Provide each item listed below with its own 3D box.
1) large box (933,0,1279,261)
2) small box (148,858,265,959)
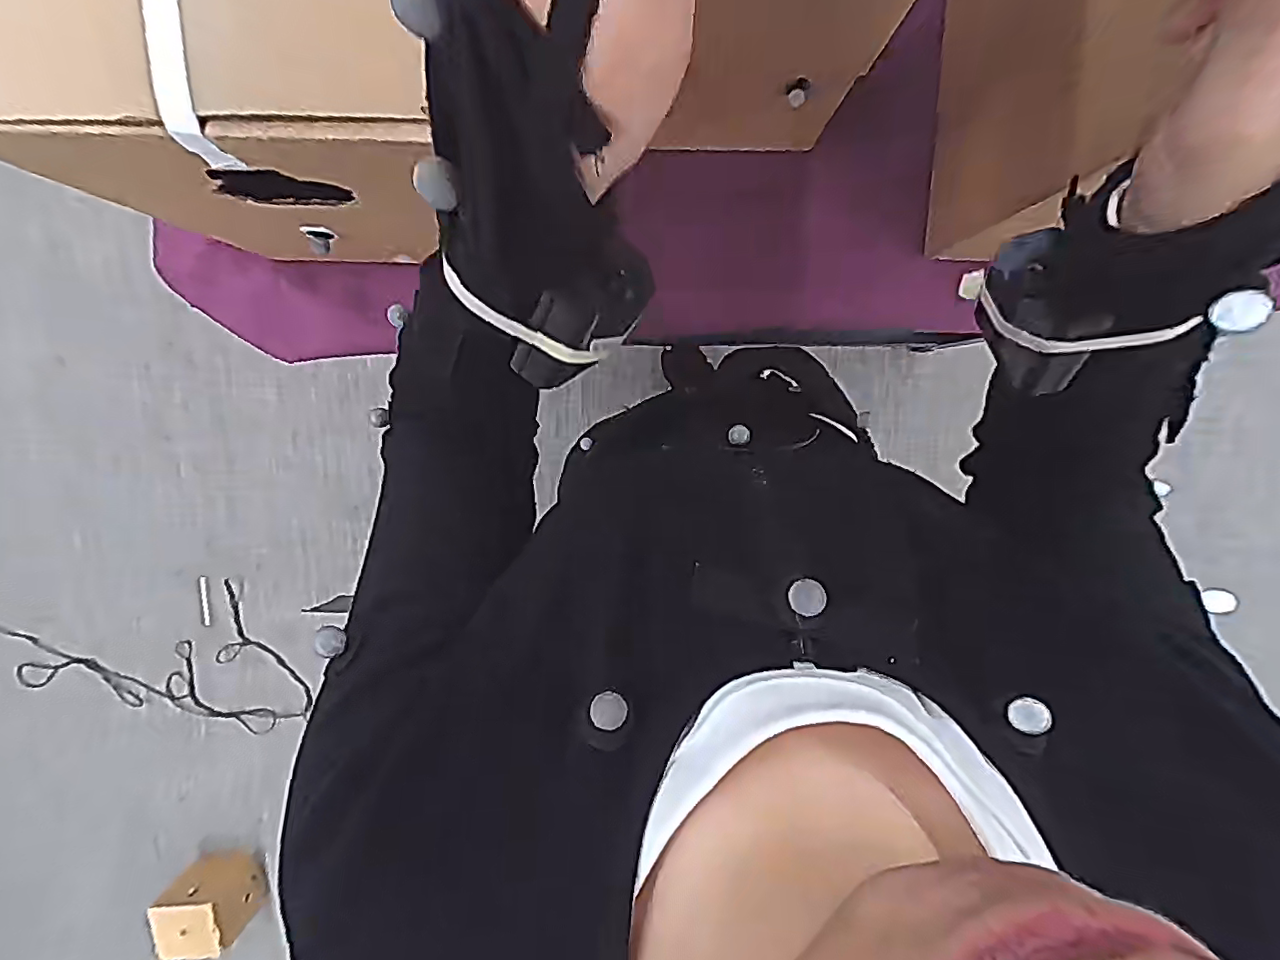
[{"bbox_3d":[0.453,-0.414,0.402,0.320,0.320,0.408,0,98,1],"label":"large box"},{"bbox_3d":[-1.197,1.193,1.505,0.179,0.176,0.168,-5,99,1],"label":"small box"}]
